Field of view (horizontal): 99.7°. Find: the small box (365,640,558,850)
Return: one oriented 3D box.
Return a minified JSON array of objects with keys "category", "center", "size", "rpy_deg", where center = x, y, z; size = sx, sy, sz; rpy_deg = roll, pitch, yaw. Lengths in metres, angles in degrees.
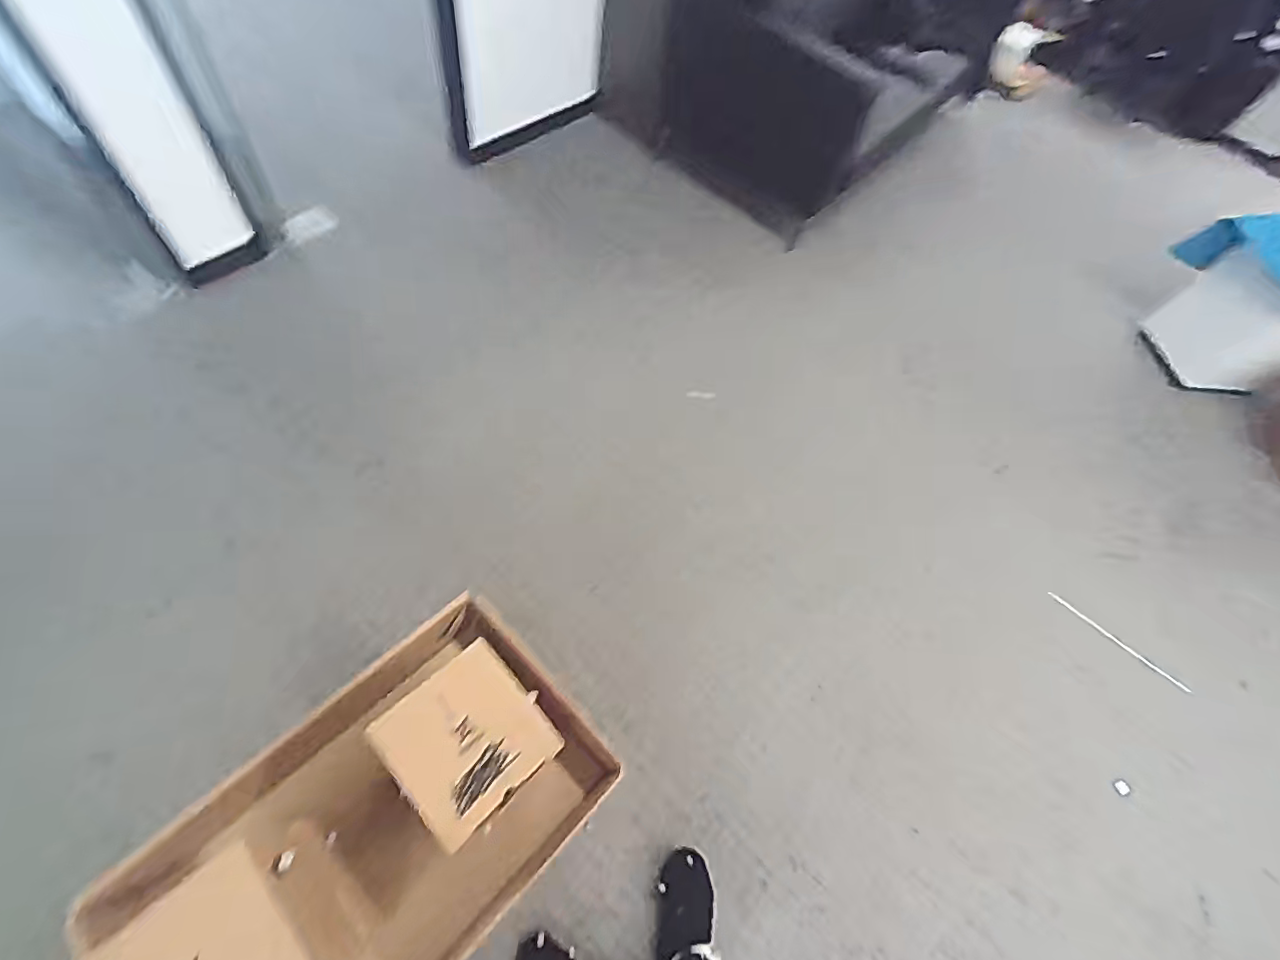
[{"category":"small box","center":[-0.229,0.350,0.730],"size":[0.168,0.176,0.179],"rpy_deg":[-38,74,-27]}]

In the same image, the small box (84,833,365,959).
[{"category":"small box","center":[-0.440,0.524,0.592],"size":[0.168,0.176,0.179],"rpy_deg":[-37,73,-25]}]
